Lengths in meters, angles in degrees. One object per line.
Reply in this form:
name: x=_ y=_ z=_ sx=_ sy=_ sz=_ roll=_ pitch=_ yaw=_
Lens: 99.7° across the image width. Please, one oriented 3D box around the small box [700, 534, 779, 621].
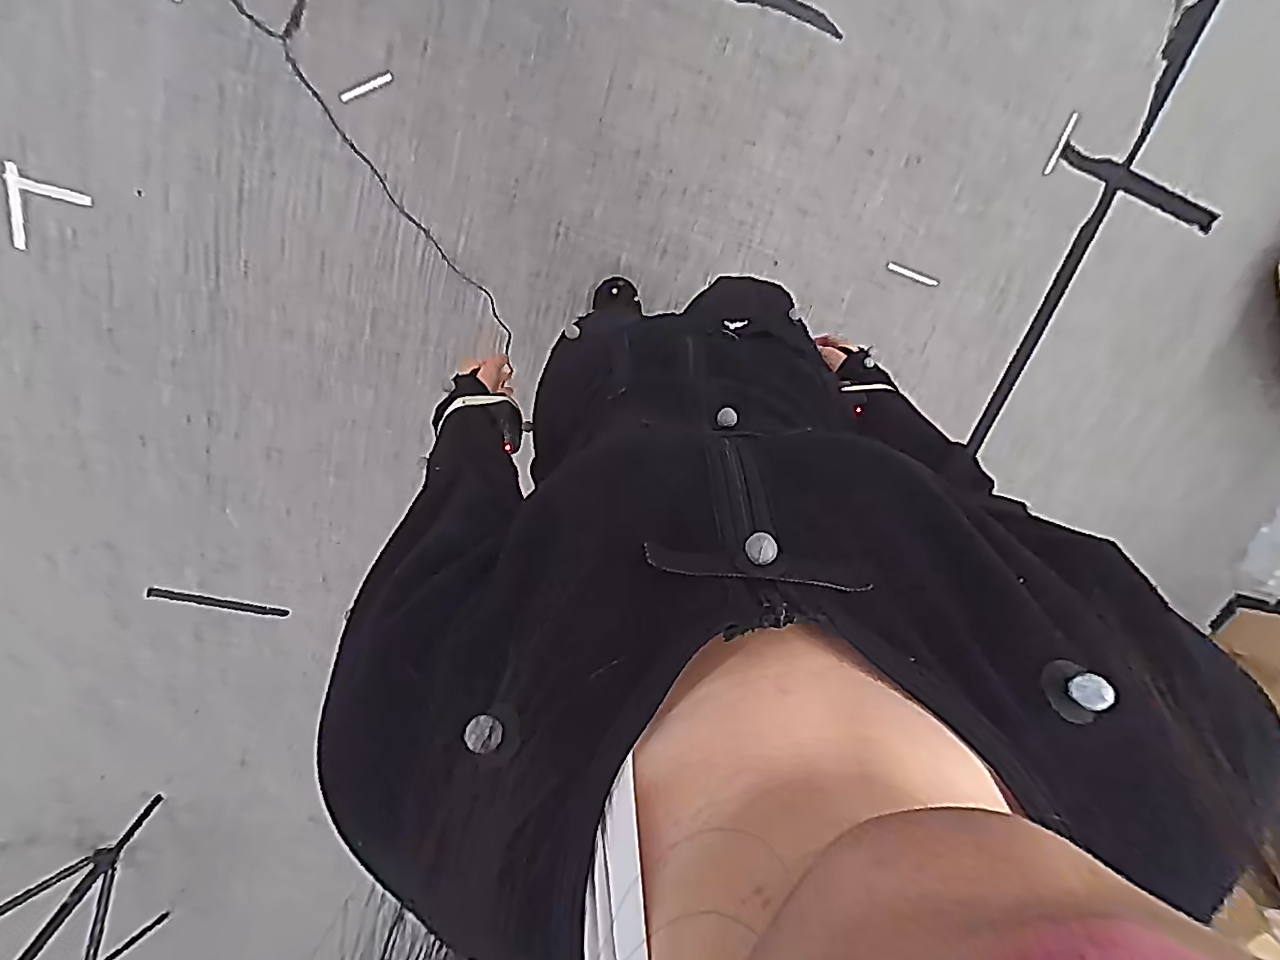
small box: x=0.291 y=0.281 z=1.610 sx=0.168 sy=0.176 sz=0.179 roll=-20 pitch=114 yaw=3
